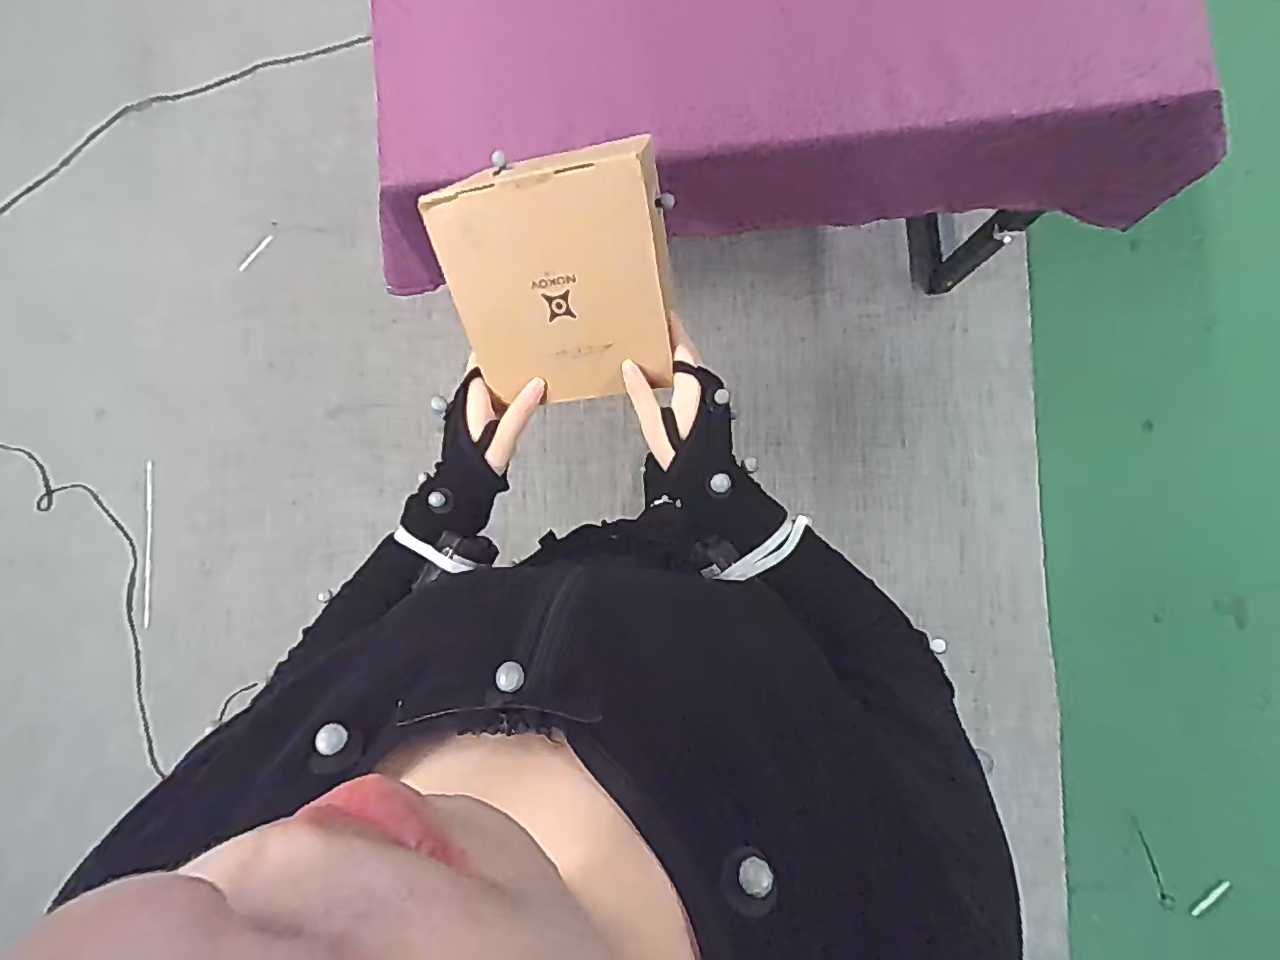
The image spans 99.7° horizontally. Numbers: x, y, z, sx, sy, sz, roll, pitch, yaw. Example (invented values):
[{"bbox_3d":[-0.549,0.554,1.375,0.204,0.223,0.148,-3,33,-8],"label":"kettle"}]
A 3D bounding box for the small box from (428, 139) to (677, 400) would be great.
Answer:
[{"bbox_3d":[-0.058,-0.196,0.491,0.168,0.176,0.179,-5,126,9],"label":"small box"}]
